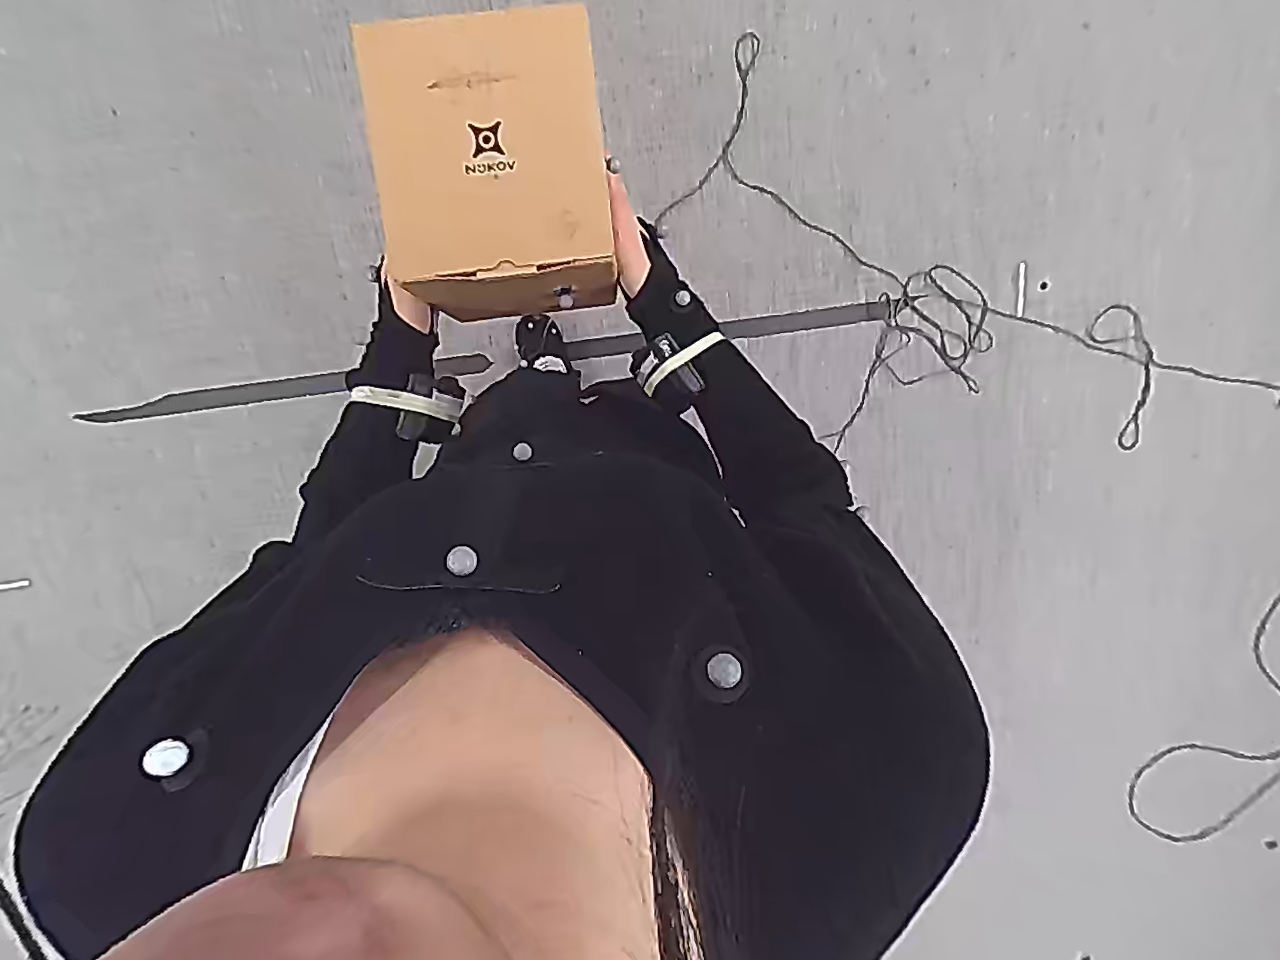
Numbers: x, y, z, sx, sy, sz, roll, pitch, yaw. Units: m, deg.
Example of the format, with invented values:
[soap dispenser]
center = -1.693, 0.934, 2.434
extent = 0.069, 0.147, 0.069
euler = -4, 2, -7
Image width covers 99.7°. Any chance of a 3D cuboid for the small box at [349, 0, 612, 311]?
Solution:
[small box]
center = -0.114, -0.251, 0.463
extent = 0.168, 0.176, 0.179
euler = -8, 96, -3
